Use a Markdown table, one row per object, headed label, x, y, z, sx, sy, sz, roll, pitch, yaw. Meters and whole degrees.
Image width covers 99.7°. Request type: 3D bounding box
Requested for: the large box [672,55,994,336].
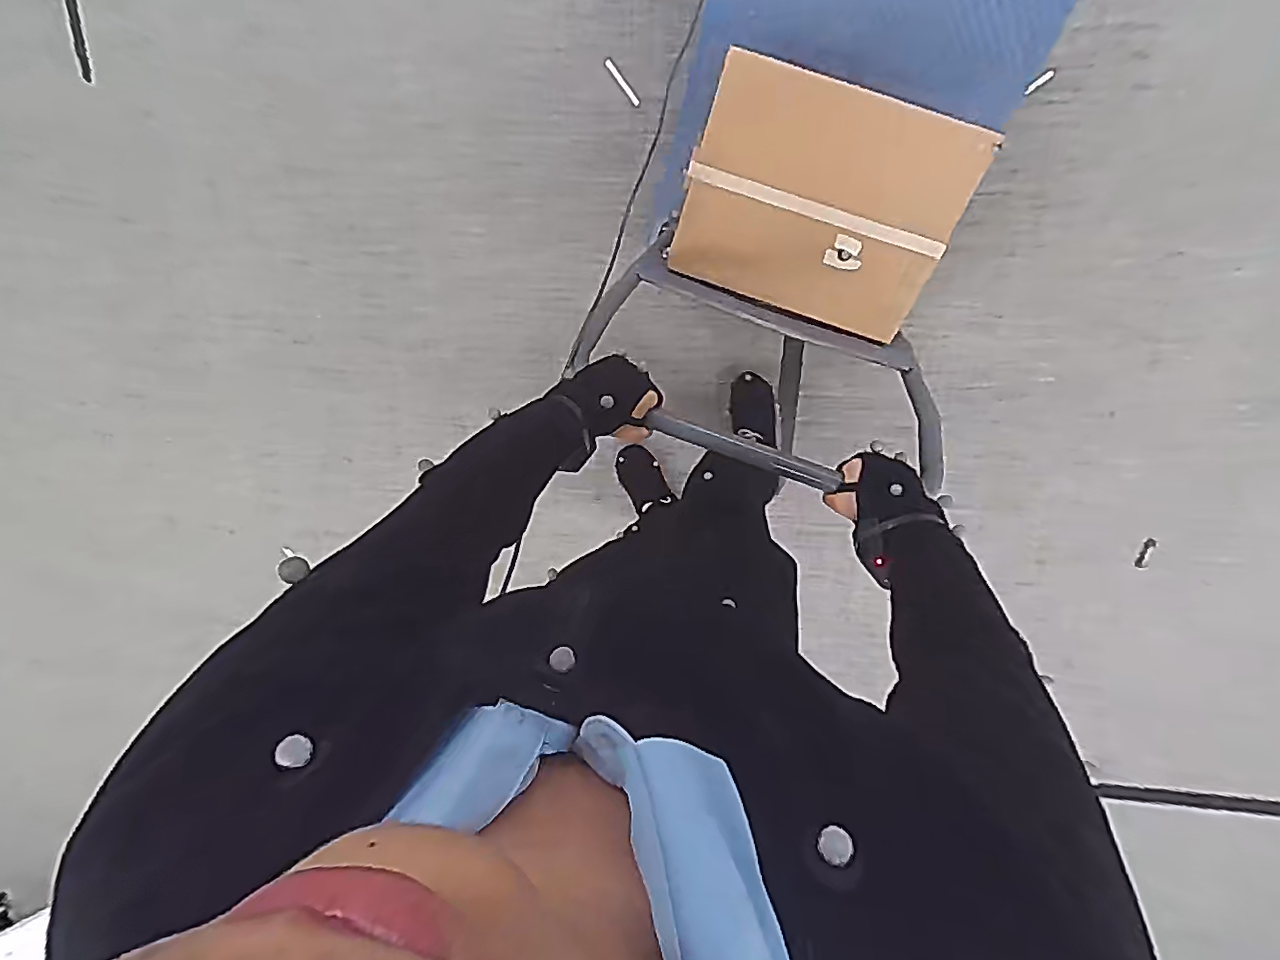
| label | x | y | z | sx | sy | sz | roll | pitch | yaw |
| --- | --- | --- | --- | --- | --- | --- | --- | --- | --- |
| large box | 0.307 | -0.506 | 0.978 | 0.408 | 0.320 | 0.320 | 20 | 124 | 1 |
